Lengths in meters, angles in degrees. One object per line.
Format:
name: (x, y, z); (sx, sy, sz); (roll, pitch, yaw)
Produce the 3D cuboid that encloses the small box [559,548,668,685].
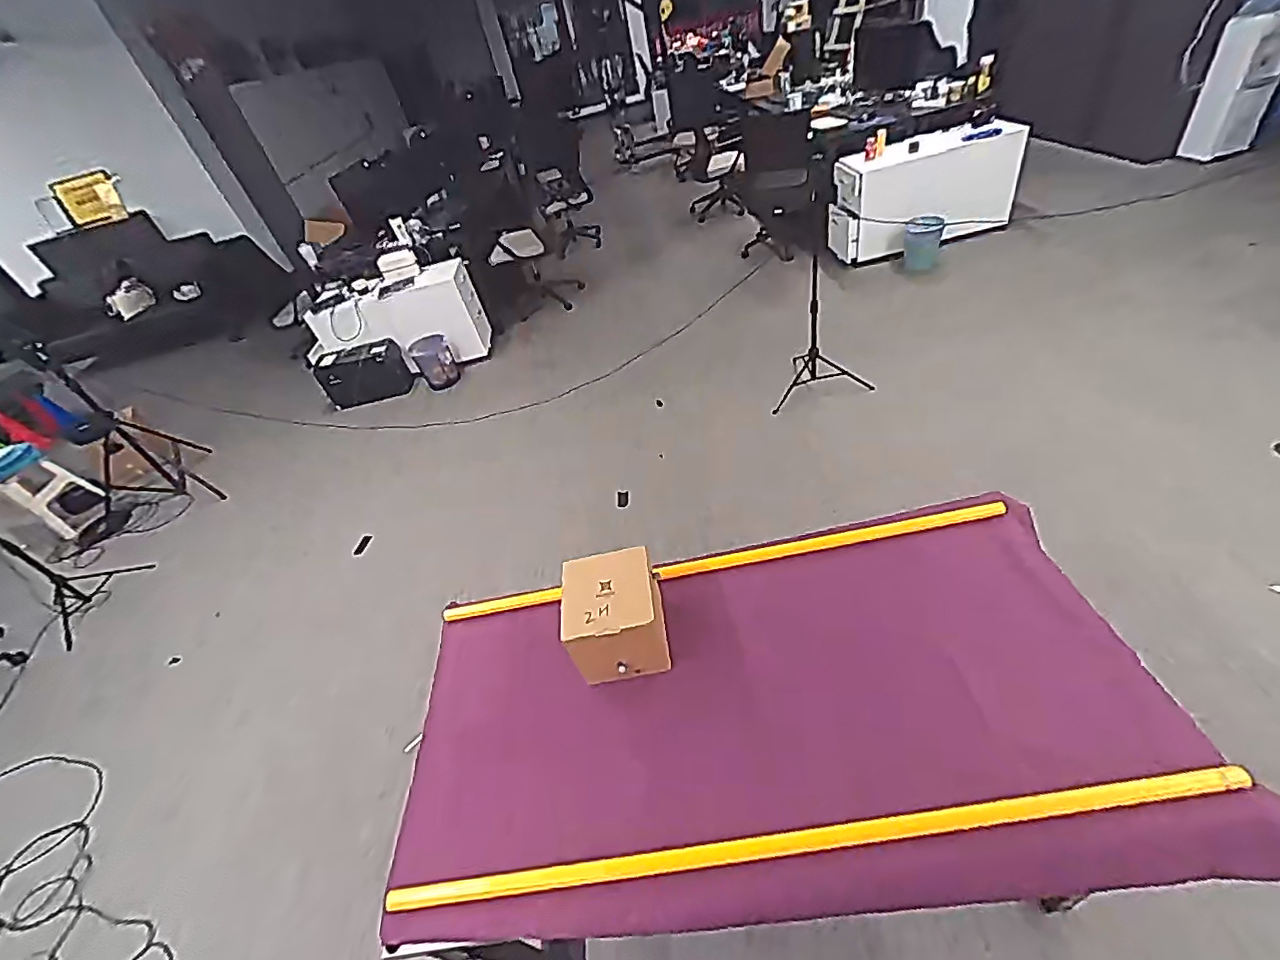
small box: (-0.048, 0.260, 1.028); (0.168, 0.176, 0.179); (-12, 42, 5)
